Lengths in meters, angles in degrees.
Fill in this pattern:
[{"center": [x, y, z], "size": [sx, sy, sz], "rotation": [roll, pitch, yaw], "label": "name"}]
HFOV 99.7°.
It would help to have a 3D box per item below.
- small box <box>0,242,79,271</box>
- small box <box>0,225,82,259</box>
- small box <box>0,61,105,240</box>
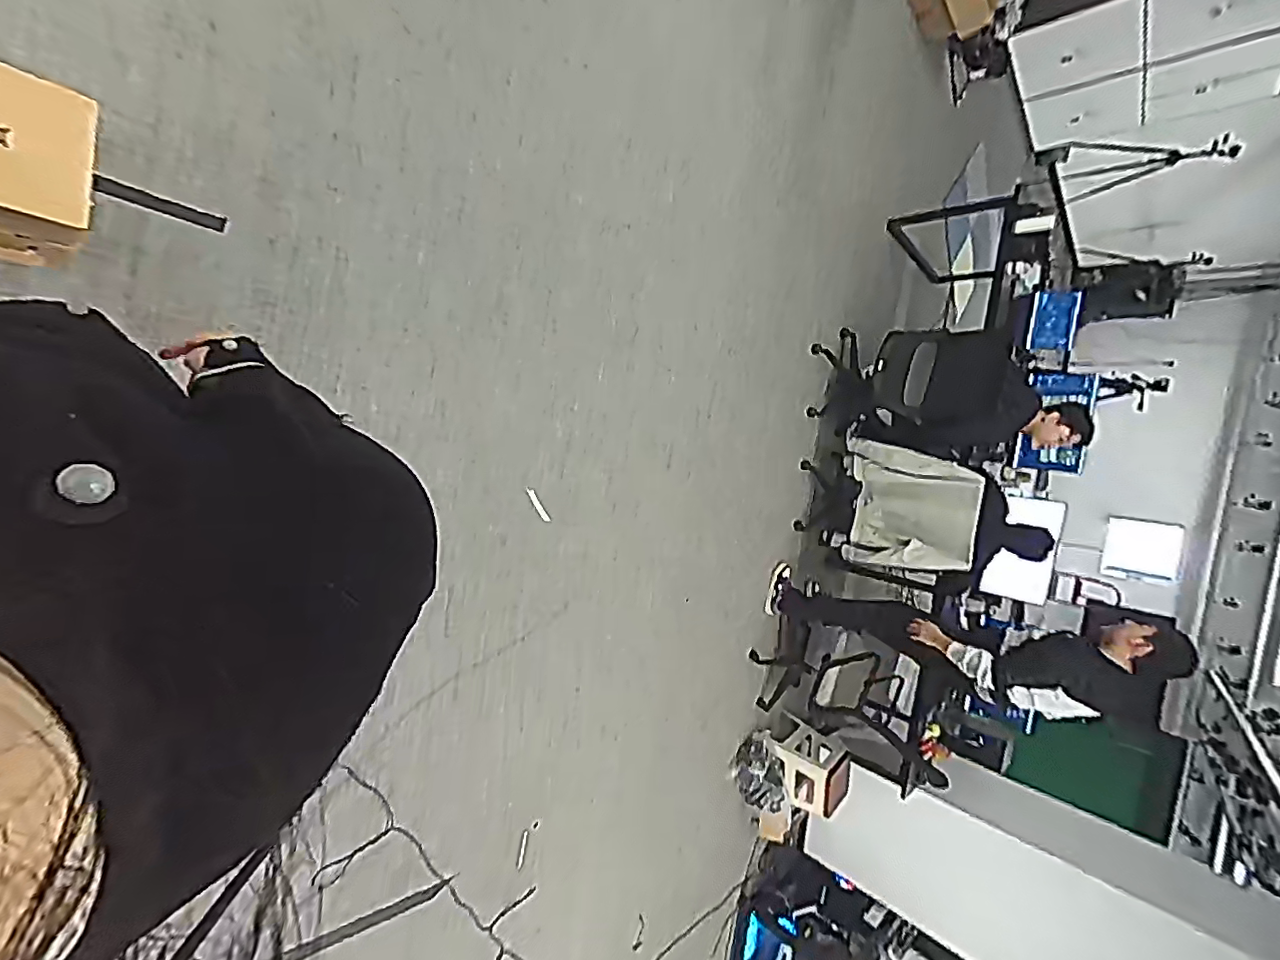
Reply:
[{"center": [-1.054, -0.468, 0.906], "size": [0.168, 0.176, 0.179], "rotation": [6, 94, -47], "label": "small box"}, {"center": [-0.937, -0.445, 0.797], "size": [0.168, 0.176, 0.179], "rotation": [5, 94, -48], "label": "small box"}, {"center": [-0.817, -0.422, 0.689], "size": [0.179, 0.176, 0.168], "rotation": [4, 96, -47], "label": "small box"}]
